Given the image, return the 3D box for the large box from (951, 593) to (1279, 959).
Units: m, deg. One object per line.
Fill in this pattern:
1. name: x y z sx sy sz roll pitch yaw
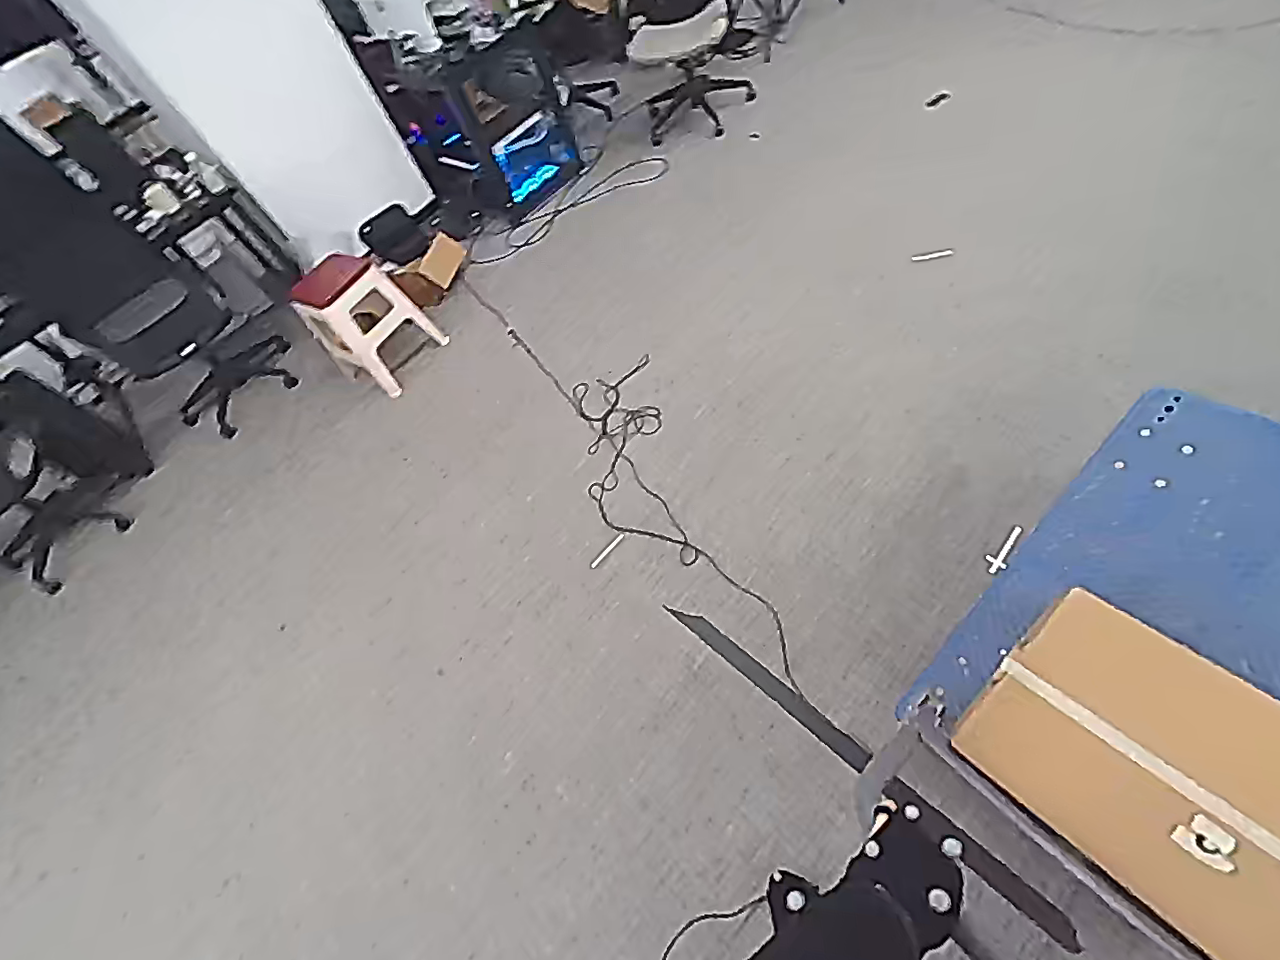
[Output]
1. large box: 0.777 0.434 0.859 0.408 0.320 0.320 38 95 34
